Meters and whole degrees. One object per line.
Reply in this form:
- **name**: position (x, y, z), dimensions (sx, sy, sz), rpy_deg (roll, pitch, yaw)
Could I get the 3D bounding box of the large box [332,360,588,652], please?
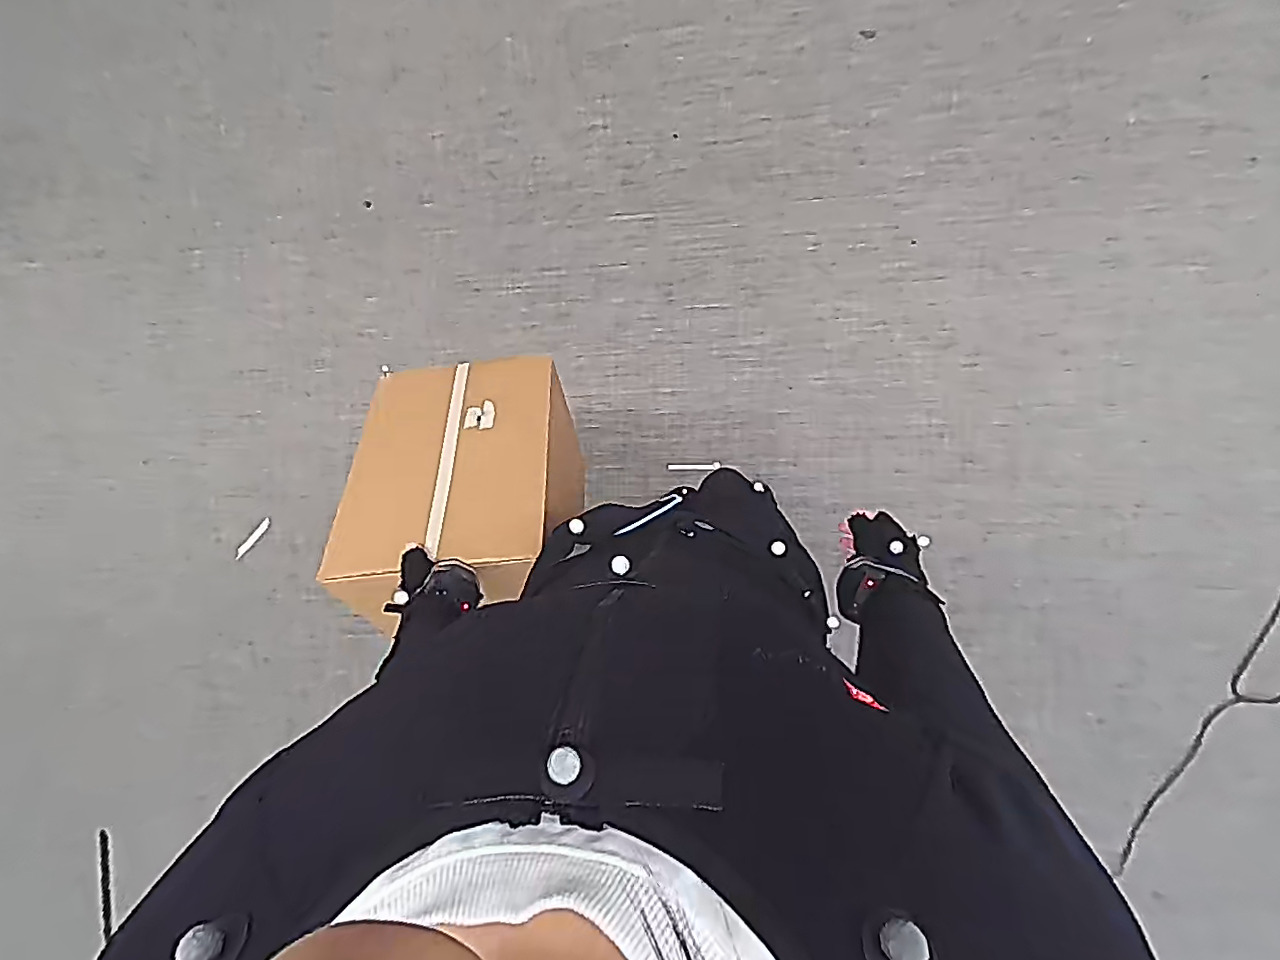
- **large box**: position (-0.275, 0.049, 0.969), dimensions (0.320, 0.320, 0.408), rpy_deg (-6, 53, 1)
